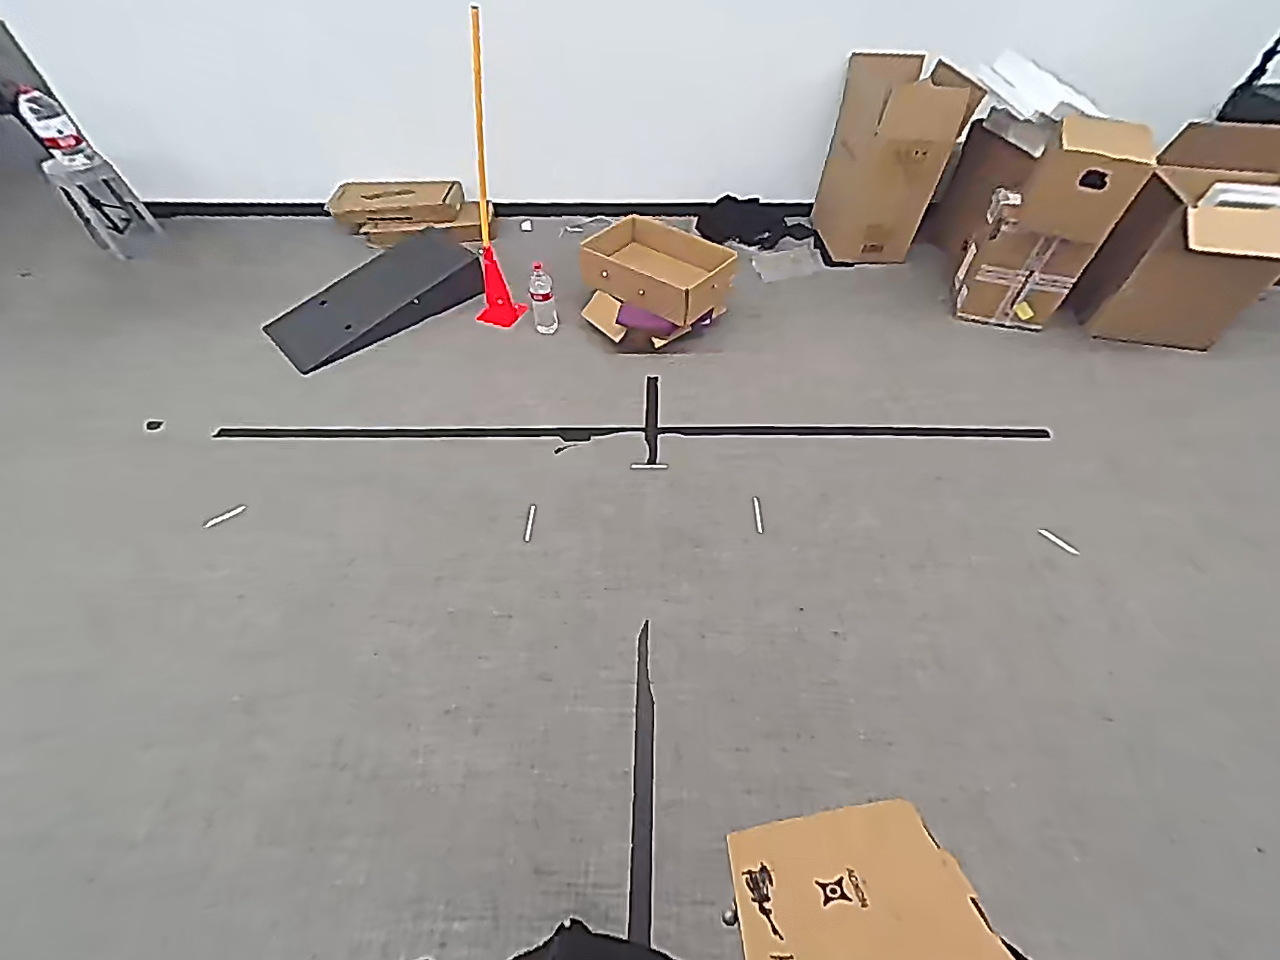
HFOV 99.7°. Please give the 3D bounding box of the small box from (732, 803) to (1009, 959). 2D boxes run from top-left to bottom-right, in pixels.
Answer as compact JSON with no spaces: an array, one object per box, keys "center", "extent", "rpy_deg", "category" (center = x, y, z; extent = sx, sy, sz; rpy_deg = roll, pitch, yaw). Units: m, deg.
[{"center":[0.186,0.413,0.448],"extent":[0.179,0.168,0.176],"rpy_deg":[-13,94,3],"category":"small box"}]
